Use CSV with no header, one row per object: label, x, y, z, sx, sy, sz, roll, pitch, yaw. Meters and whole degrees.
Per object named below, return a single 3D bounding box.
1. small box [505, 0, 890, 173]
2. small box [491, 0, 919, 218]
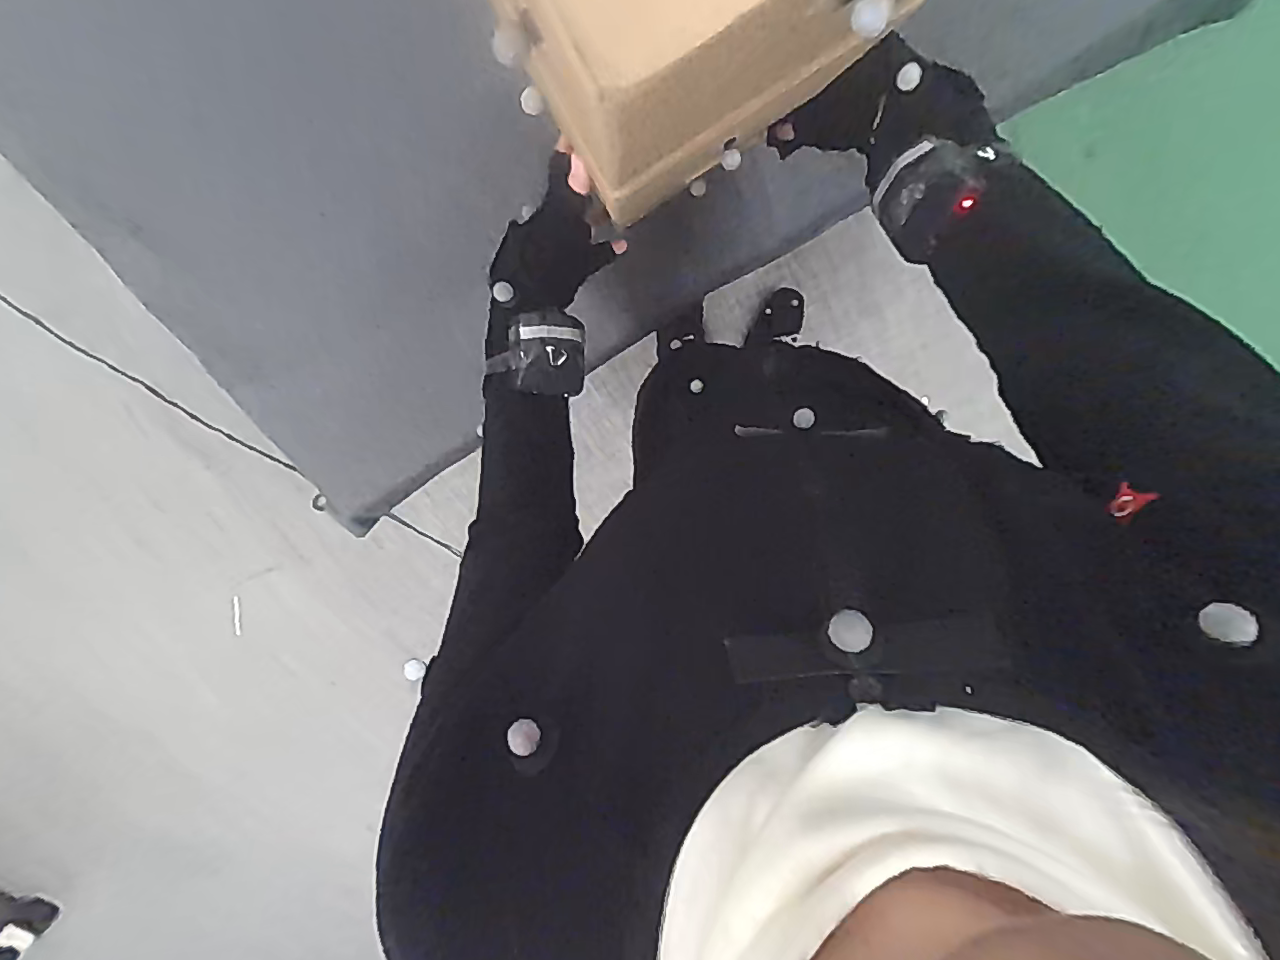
small box,0.019,-0.223,0.161,0.179,0.176,0.168,-29,111,9
small box,0.018,-0.279,0.313,0.179,0.176,0.168,-32,110,10
